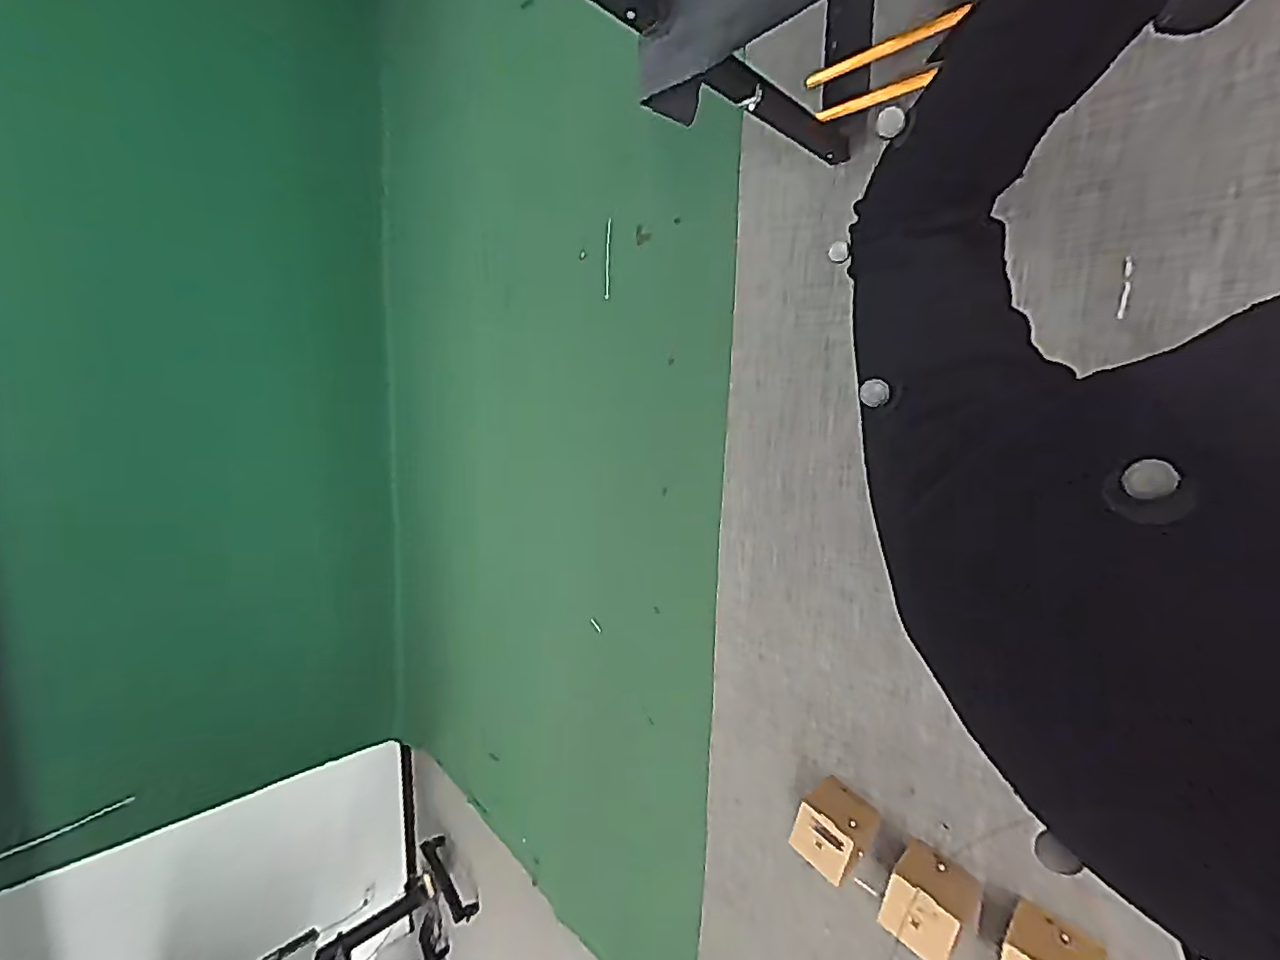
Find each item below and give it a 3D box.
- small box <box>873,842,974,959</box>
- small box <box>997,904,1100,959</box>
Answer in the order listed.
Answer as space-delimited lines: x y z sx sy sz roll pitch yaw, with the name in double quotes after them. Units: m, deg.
0.741 1.107 1.410 0.168 0.176 0.179 22 109 43 "small box"
0.920 1.135 1.227 0.168 0.176 0.179 12 102 45 "small box"
